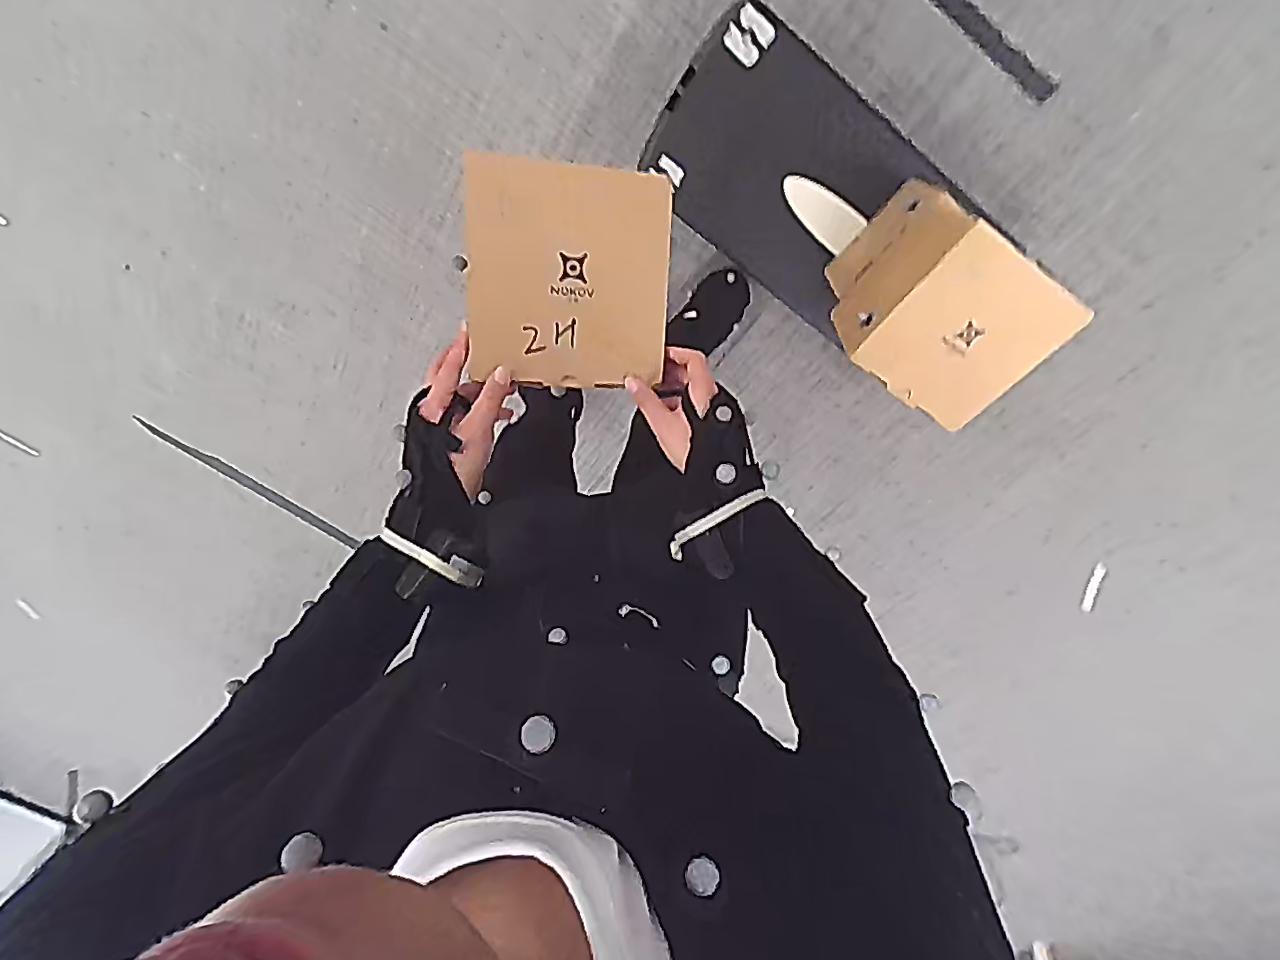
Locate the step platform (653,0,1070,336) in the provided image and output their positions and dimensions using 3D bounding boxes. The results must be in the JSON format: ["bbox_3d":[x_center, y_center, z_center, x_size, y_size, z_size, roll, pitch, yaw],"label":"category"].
[{"bbox_3d":[0.356,-0.434,0.908,0.684,0.204,0.286,35,122,-11],"label":"step platform"}]

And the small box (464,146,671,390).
[{"bbox_3d":[-0.077,-0.183,0.516,0.168,0.176,0.179,1,103,-13],"label":"small box"}]

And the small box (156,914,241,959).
[{"bbox_3d":[-1.312,1.406,1.574,0.168,0.176,0.179,36,122,-13],"label":"small box"}]

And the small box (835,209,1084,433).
[{"bbox_3d":[0.361,-0.198,0.654,0.168,0.176,0.179,32,124,-11],"label":"small box"}]
